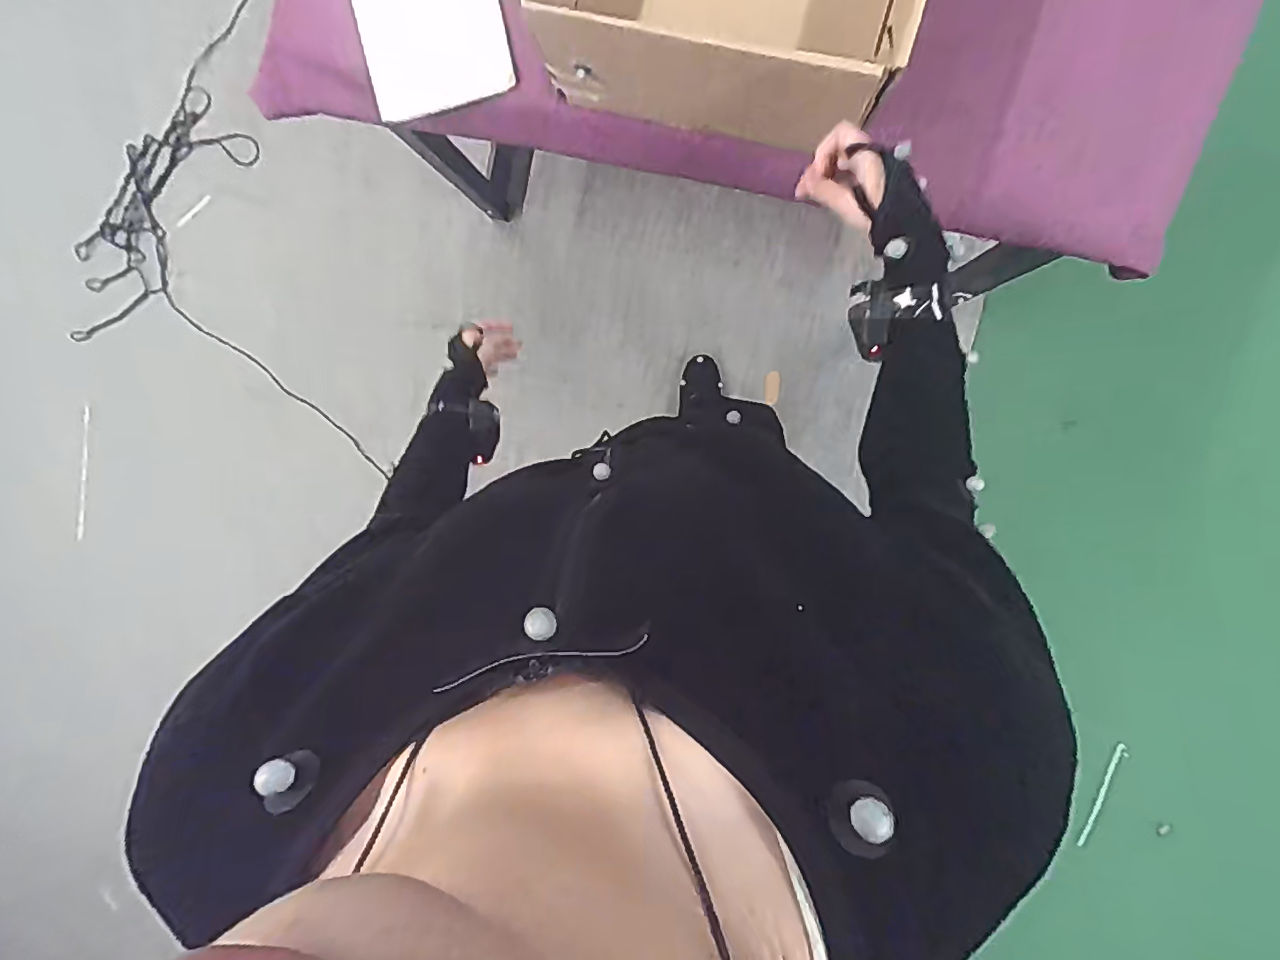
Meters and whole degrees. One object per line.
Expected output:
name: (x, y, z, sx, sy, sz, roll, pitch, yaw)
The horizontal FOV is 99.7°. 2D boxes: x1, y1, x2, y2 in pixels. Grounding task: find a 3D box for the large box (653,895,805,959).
large box: (0.245, 1.420, 1.492, 0.408, 0.320, 0.320, -1, 97, 6)
